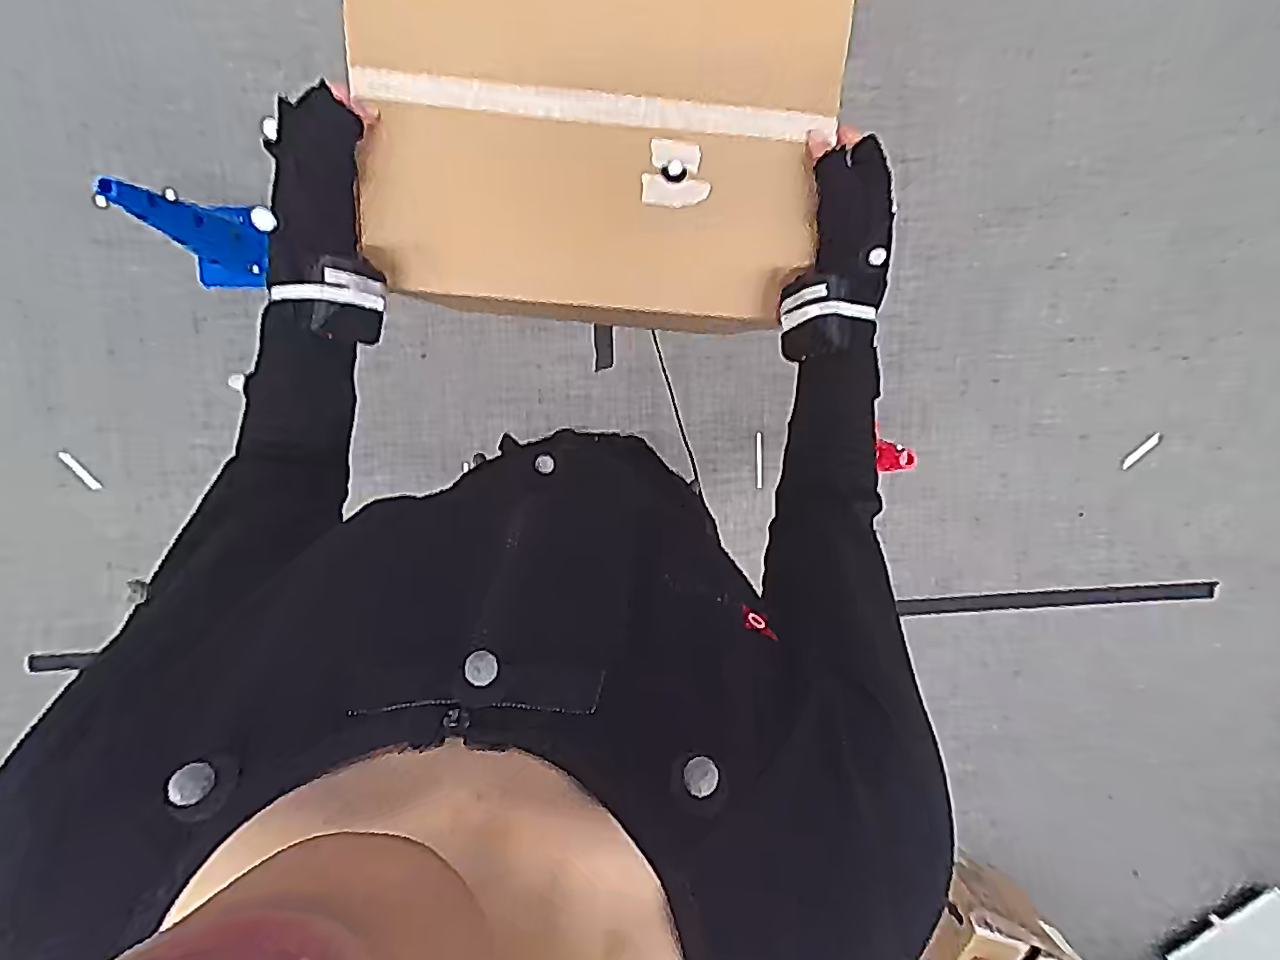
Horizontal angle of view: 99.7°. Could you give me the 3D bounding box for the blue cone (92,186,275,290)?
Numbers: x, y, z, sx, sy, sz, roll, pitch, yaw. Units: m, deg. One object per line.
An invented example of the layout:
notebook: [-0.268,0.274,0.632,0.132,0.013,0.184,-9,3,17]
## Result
blue cone: [-1.032,-0.571,1.226,0.192,0.380,0.193,1,96,-1]

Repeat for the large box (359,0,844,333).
large box: [-0.043,-0.342,0.606,0.408,0.320,0.320,3,103,-4]
